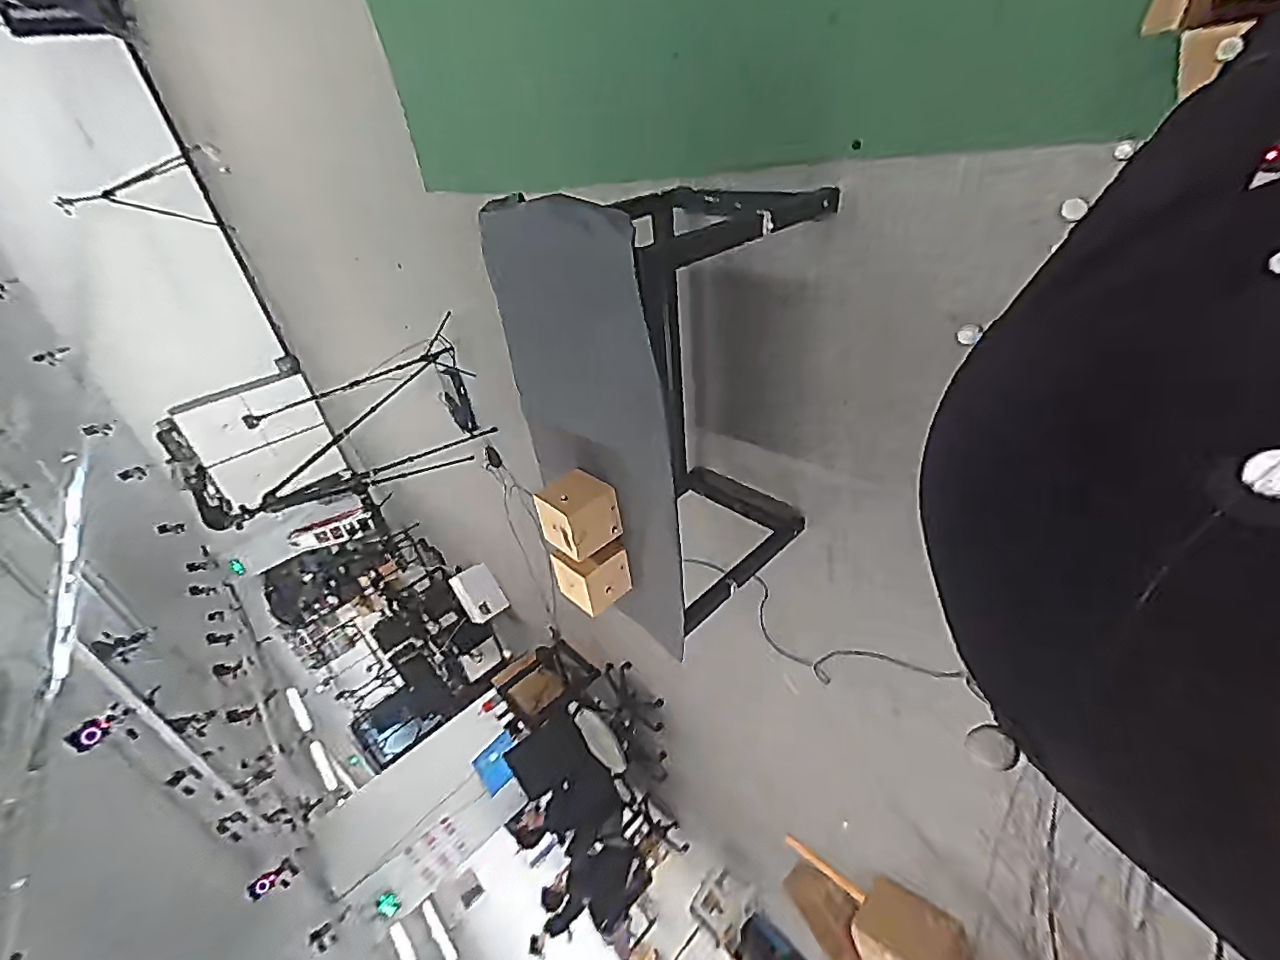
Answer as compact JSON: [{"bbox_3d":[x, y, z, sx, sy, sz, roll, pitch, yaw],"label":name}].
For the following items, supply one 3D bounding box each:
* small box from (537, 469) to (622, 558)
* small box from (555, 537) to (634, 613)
[{"bbox_3d":[-0.165,0.088,1.563,0.179,0.176,0.168,27,137,42],"label":"small box"},{"bbox_3d":[-0.134,0.272,1.686,0.179,0.176,0.168,26,137,42],"label":"small box"}]
